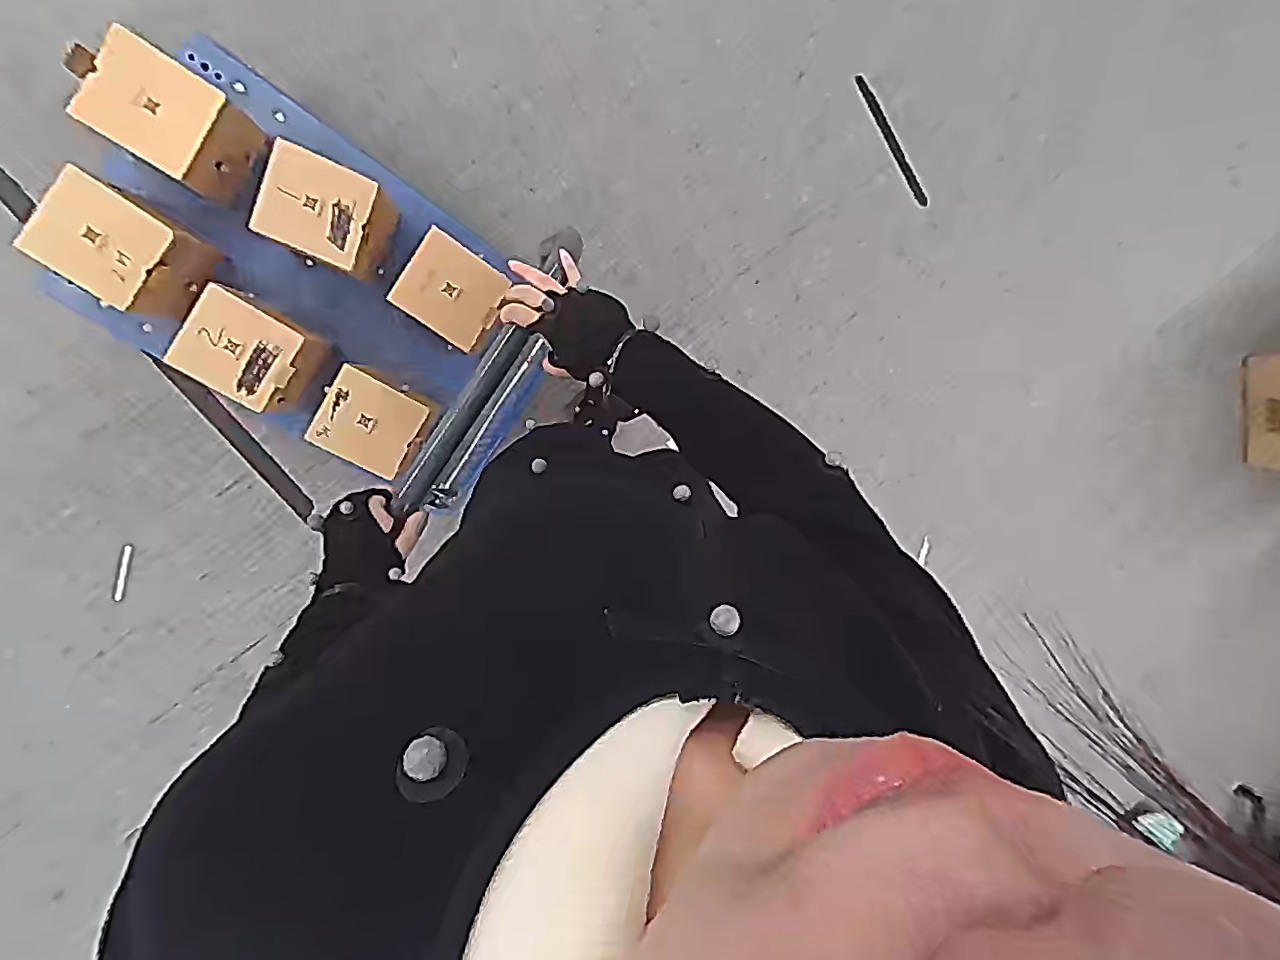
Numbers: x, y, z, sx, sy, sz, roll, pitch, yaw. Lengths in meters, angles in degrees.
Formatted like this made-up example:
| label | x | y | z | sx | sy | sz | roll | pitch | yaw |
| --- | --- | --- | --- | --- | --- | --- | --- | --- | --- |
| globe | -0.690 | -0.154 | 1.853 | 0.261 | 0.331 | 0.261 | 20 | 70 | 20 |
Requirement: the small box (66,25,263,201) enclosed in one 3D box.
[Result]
| label | x | y | z | sx | sy | sz | roll | pitch | yaw |
| --- | --- | --- | --- | --- | --- | --- | --- | --- | --- |
| small box | -0.817 | -0.624 | 0.954 | 0.179 | 0.176 | 0.168 | 29 | 93 | -16 |

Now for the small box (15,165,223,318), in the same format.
| label | x | y | z | sx | sy | sz | roll | pitch | yaw |
| --- | --- | --- | --- | --- | --- | --- | --- | --- | --- |
| small box | -0.914 | -0.410 | 0.970 | 0.179 | 0.176 | 0.168 | 34 | 91 | -17 |

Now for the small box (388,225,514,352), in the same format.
| label | x | y | z | sx | sy | sz | roll | pitch | yaw |
| --- | --- | --- | --- | --- | --- | --- | --- | --- | --- |
| small box | -0.371 | -0.376 | 1.100 | 0.179 | 0.176 | 0.168 | 33 | 91 | -15 |

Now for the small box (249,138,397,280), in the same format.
| label | x | y | z | sx | sy | sz | roll | pitch | yaw |
| --- | --- | --- | --- | --- | --- | --- | --- | --- | --- |
| small box | -0.587 | -0.498 | 1.029 | 0.179 | 0.176 | 0.168 | 20 | 95 | -15 |

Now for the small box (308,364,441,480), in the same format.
| label | x | y | z | sx | sy | sz | roll | pitch | yaw |
| --- | --- | --- | --- | --- | --- | --- | --- | --- | --- |
| small box | -0.530 | -0.123 | 1.109 | 0.179 | 0.176 | 0.168 | 29 | 92 | -16 |
